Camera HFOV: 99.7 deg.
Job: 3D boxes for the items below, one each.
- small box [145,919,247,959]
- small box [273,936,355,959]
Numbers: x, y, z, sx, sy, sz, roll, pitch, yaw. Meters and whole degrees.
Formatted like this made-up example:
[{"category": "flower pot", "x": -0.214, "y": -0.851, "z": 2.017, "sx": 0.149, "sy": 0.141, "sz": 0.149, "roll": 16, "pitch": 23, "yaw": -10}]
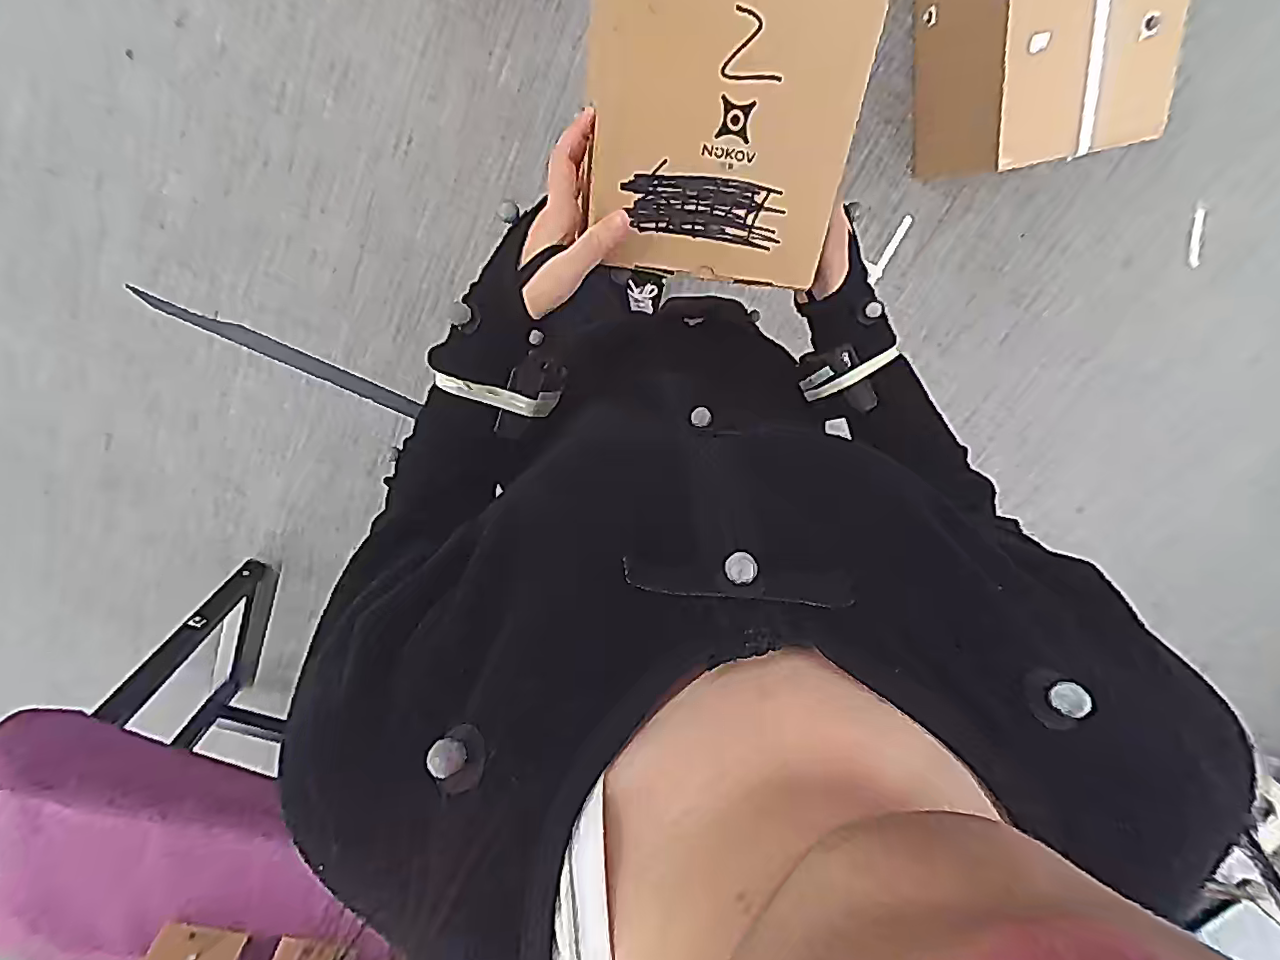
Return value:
[{"category": "small box", "x": -0.966, "y": 1.072, "z": 1.133, "sx": 0.168, "sy": 0.176, "sz": 0.179, "roll": 23, "pitch": 111, "yaw": -15}, {"category": "small box", "x": -0.752, "y": 1.145, "z": 1.183, "sx": 0.168, "sy": 0.176, "sz": 0.179, "roll": 23, "pitch": 112, "yaw": -14}]
